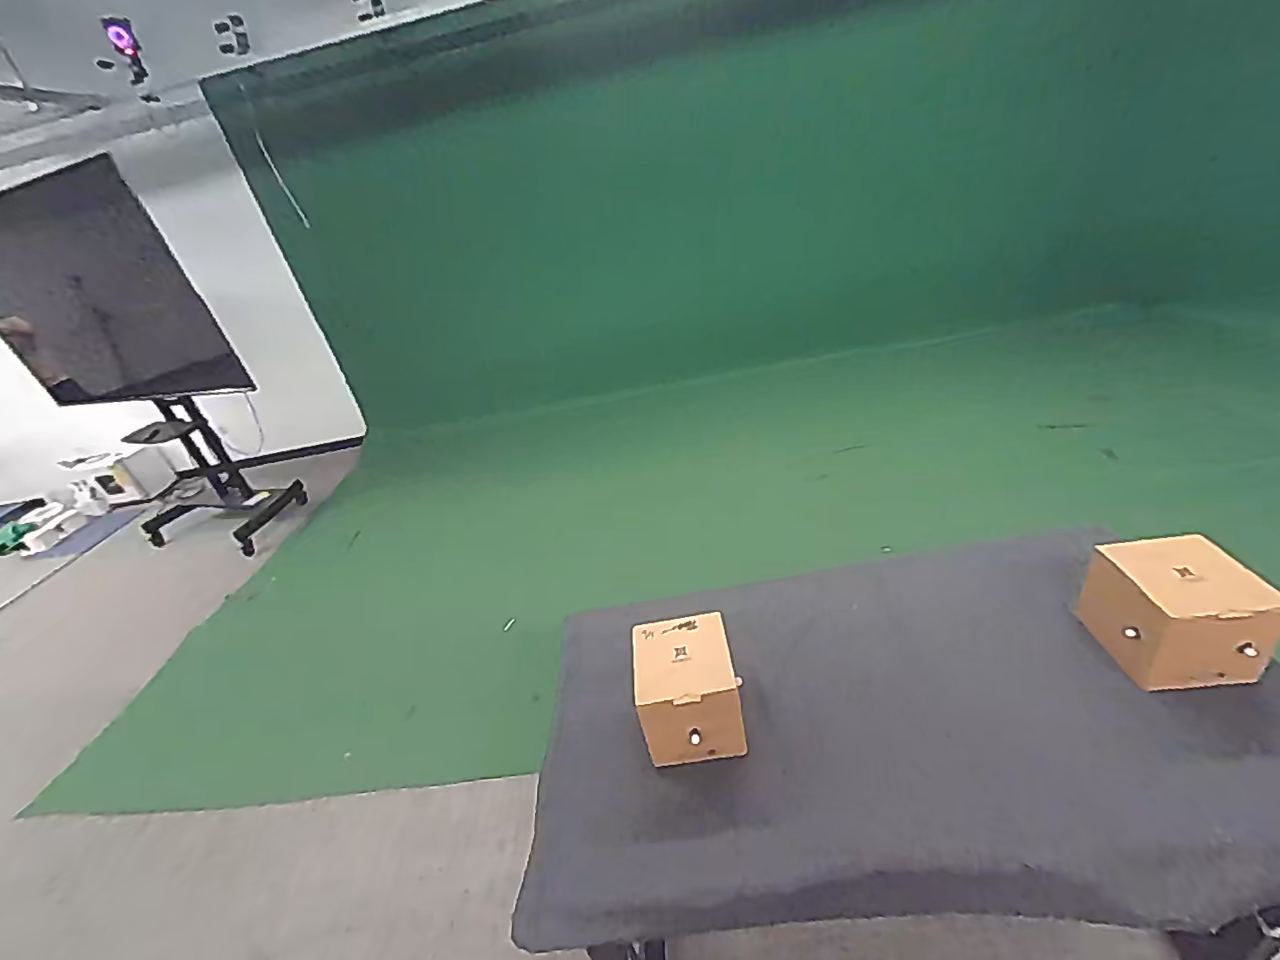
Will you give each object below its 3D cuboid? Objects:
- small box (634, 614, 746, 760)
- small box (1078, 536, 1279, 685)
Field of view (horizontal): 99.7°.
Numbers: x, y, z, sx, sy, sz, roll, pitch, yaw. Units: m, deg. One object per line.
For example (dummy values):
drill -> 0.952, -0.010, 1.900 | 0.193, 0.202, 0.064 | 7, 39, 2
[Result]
small box -> 0.086, 0.370, 0.957 | 0.168, 0.176, 0.179 | -10, 30, 4
small box -> 0.877, 0.219, 0.894 | 0.168, 0.176, 0.179 | -8, 29, 7
